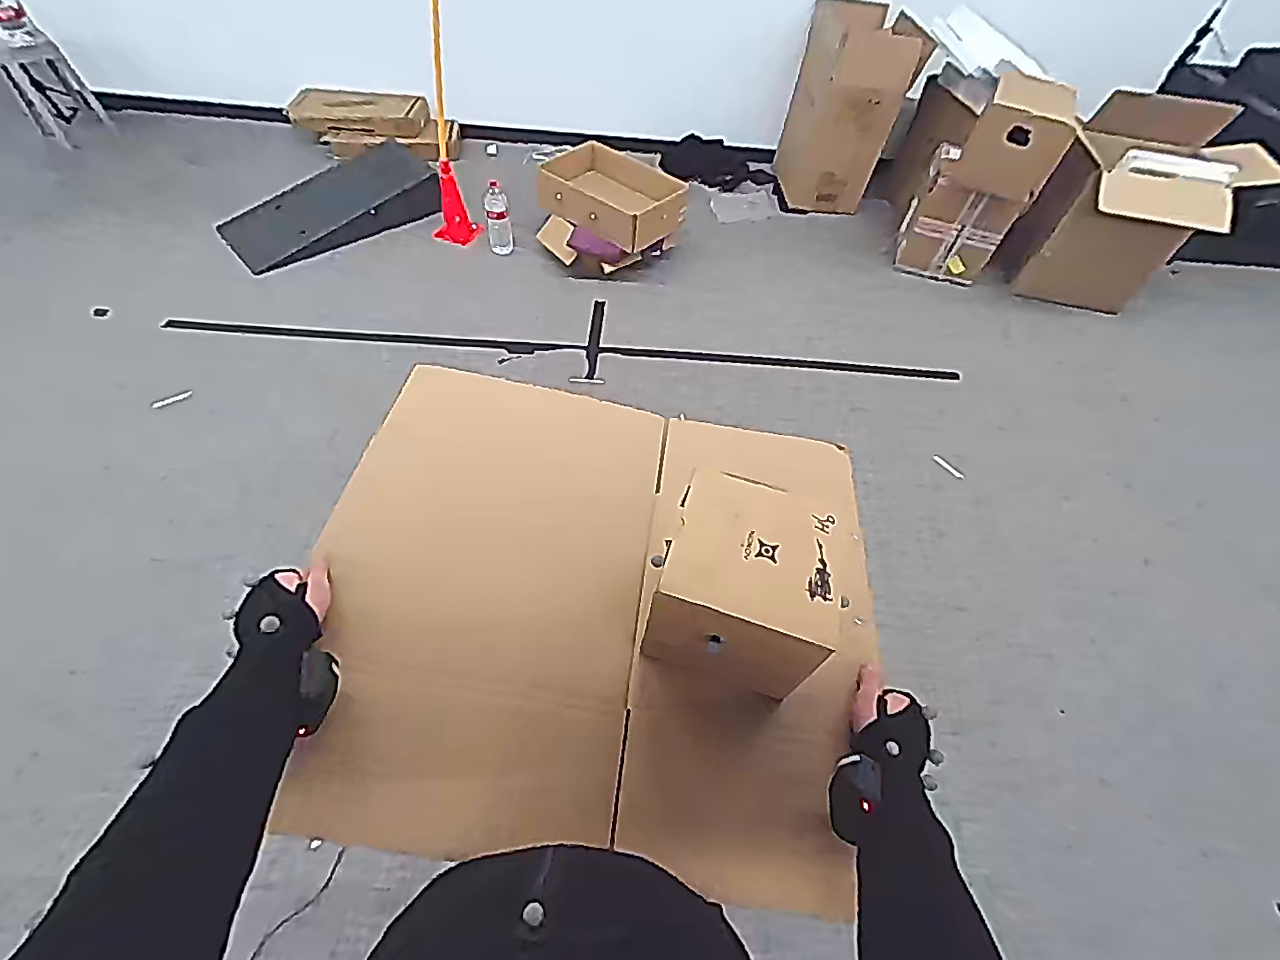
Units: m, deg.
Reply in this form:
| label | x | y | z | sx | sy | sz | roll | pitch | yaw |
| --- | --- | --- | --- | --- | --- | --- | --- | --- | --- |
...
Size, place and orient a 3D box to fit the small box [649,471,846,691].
| label | x | y | z | sx | sy | sz | roll | pitch | yaw |
| --- | --- | --- | --- | --- | --- | --- | --- | --- | --- |
| small box | 0.116 | 0.121 | 0.622 | 0.179 | 0.176 | 0.168 | 16 | 53 | 7 |
